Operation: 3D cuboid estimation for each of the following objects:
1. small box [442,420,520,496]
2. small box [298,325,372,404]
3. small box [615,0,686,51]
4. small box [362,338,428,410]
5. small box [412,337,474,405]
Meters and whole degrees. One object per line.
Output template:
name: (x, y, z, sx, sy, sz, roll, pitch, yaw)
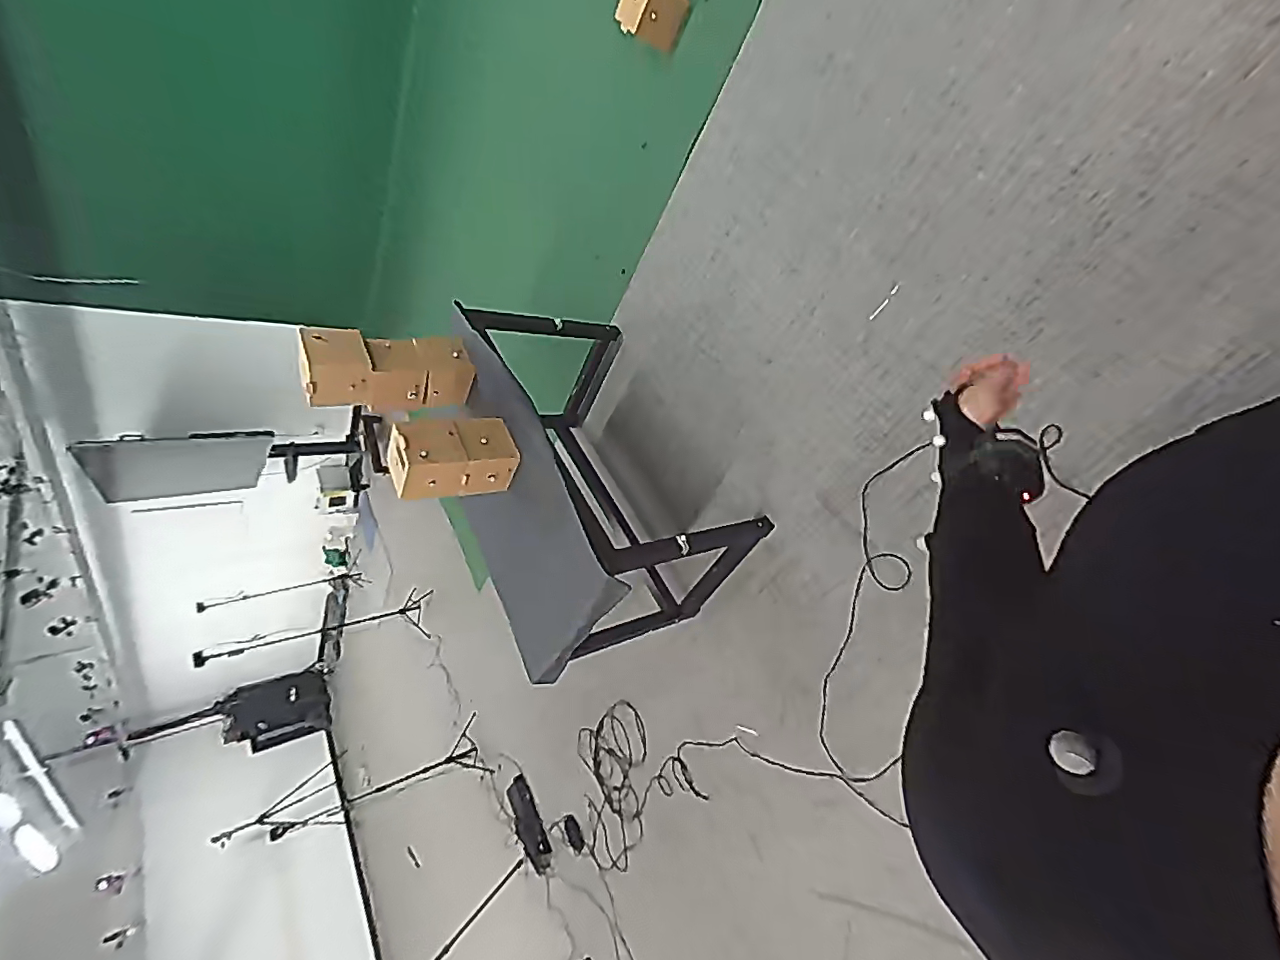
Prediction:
small box: (-0.496, -0.077, 1.691, 0.179, 0.176, 0.168, 57, 135, 26)
small box: (-0.941, -0.352, 1.663, 0.179, 0.176, 0.168, 58, 137, 26)
small box: (0.044, -1.721, 1.964, 0.179, 0.176, 0.168, -53, 57, 39)
small box: (-0.815, -0.348, 1.774, 0.179, 0.176, 0.168, 53, 135, 29)
small box: (-0.695, -0.374, 1.880, 0.168, 0.176, 0.179, 60, 136, 24)
